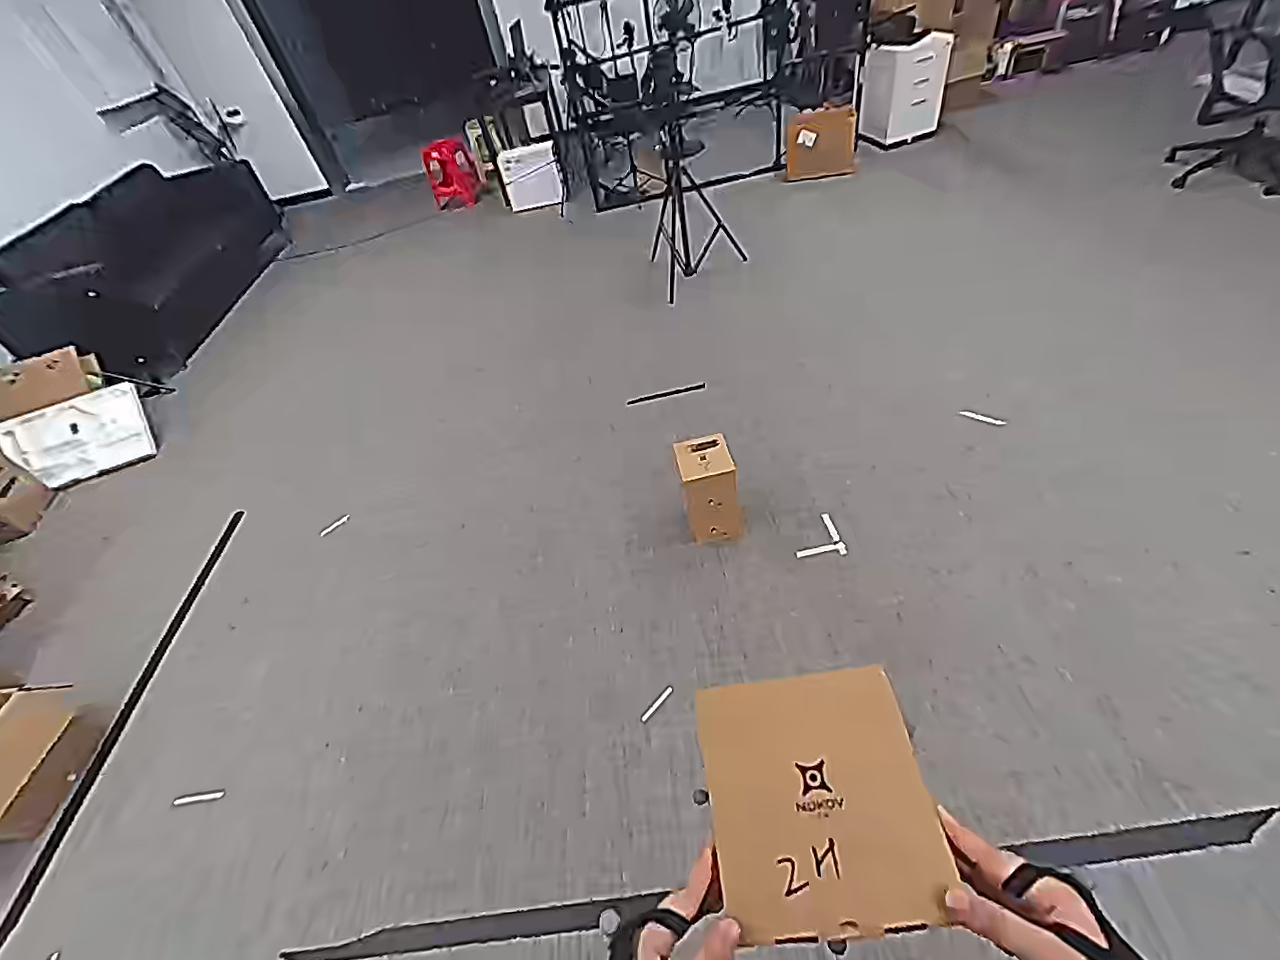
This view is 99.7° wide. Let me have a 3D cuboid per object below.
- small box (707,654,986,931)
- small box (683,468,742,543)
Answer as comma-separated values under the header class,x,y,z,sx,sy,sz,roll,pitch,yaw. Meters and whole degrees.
class,x,y,z,sx,sy,sz,roll,pitch,yaw
small box,0.156,0.277,0.477,0.168,0.176,0.179,-10,51,5
small box,0.251,0.089,1.872,0.168,0.176,0.179,-12,46,2
